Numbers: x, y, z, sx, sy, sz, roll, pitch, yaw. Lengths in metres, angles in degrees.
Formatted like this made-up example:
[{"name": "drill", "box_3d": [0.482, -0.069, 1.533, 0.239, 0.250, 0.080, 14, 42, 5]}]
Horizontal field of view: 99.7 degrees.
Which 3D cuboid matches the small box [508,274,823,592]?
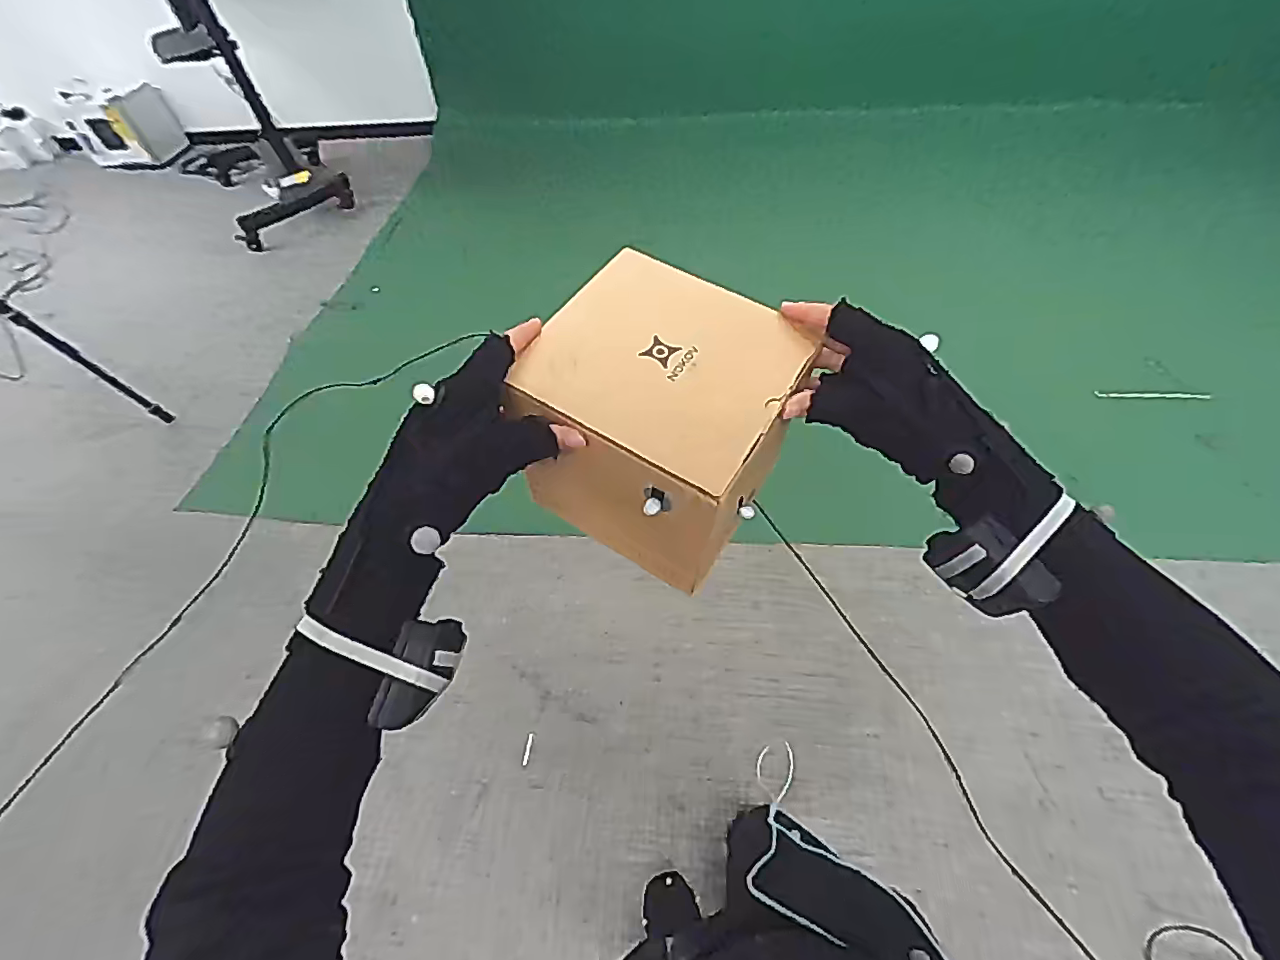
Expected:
[{"name": "small box", "box_3d": [0.019, -0.033, 0.455, 0.179, 0.176, 0.168, 30, 62, 15]}]
